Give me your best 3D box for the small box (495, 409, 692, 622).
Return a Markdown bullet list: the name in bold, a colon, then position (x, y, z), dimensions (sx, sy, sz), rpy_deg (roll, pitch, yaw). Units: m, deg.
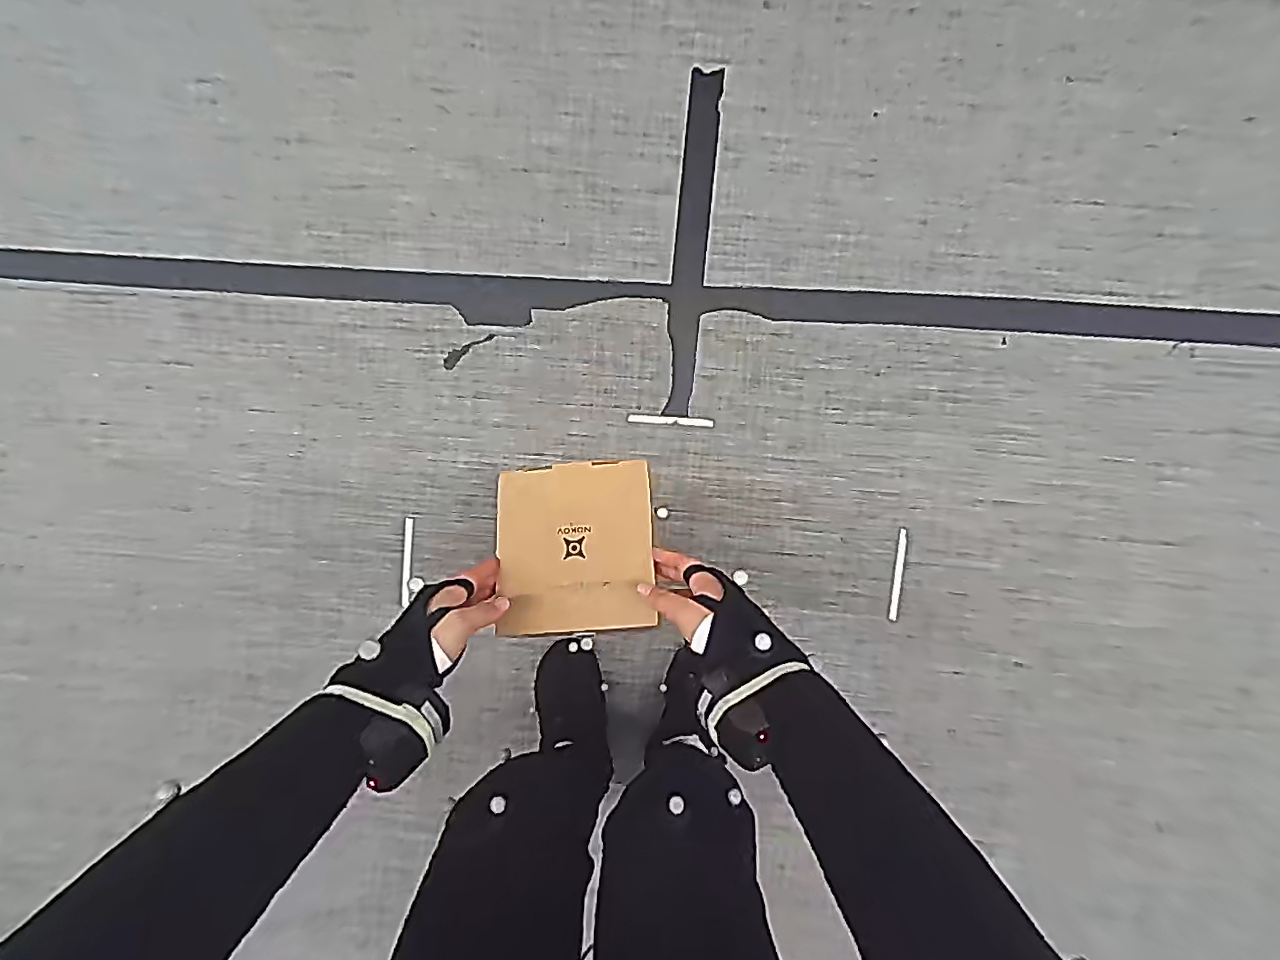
- **small box**: position (-0.039, 0.047, 0.546), dimensions (0.168, 0.176, 0.179), rpy_deg (-6, 75, 4)
